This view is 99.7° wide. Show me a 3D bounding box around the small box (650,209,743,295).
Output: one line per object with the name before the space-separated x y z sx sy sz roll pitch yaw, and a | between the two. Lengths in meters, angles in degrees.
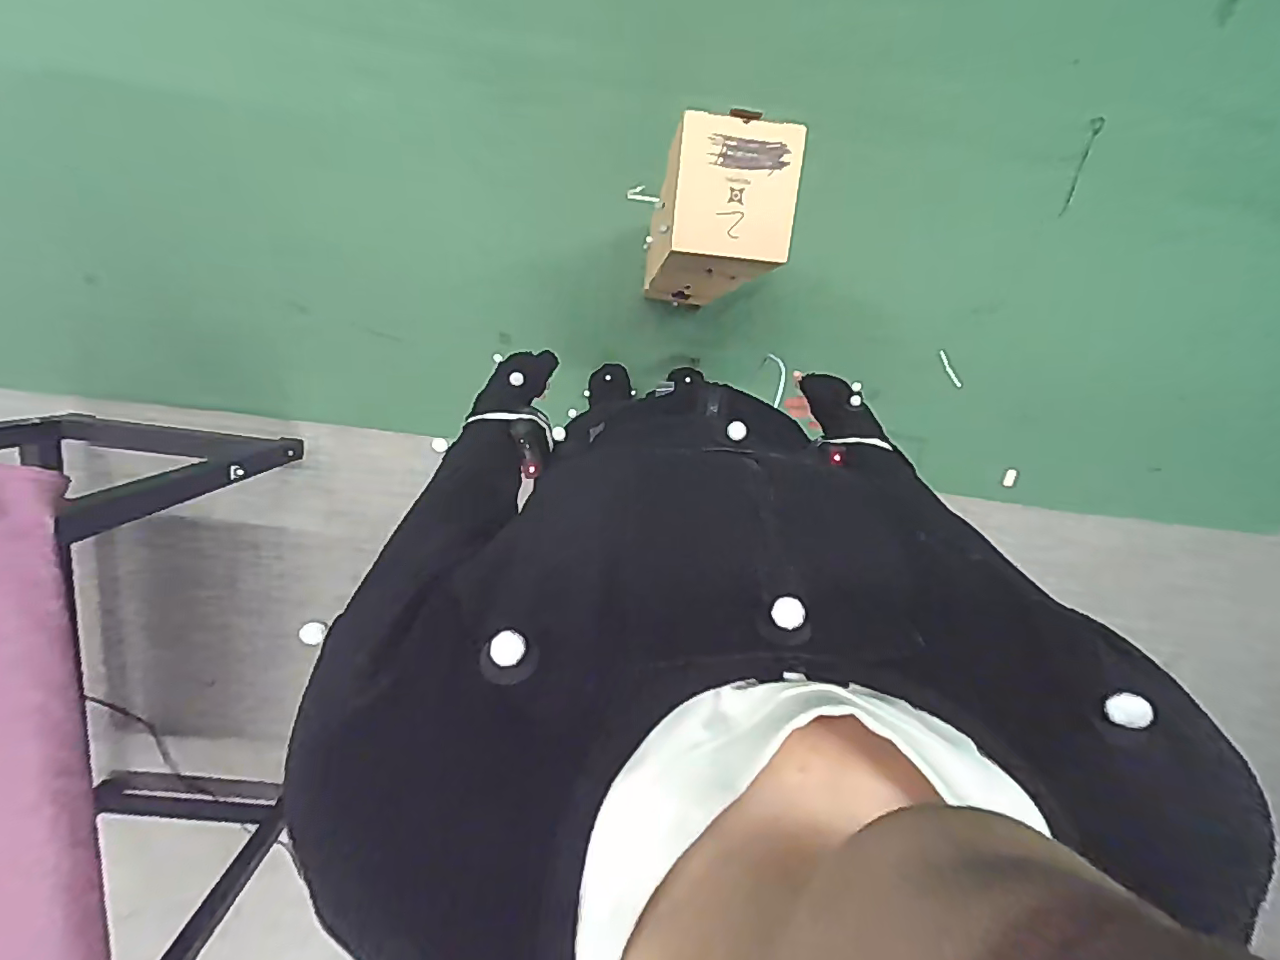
small box | 0.124 -0.486 1.116 0.179 0.176 0.168 9 101 -5

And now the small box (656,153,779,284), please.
small box | 0.127 -0.451 0.960 0.179 0.176 0.168 6 103 -4

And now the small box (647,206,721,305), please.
small box | 0.110 -0.522 1.279 0.168 0.176 0.179 7 103 -3
